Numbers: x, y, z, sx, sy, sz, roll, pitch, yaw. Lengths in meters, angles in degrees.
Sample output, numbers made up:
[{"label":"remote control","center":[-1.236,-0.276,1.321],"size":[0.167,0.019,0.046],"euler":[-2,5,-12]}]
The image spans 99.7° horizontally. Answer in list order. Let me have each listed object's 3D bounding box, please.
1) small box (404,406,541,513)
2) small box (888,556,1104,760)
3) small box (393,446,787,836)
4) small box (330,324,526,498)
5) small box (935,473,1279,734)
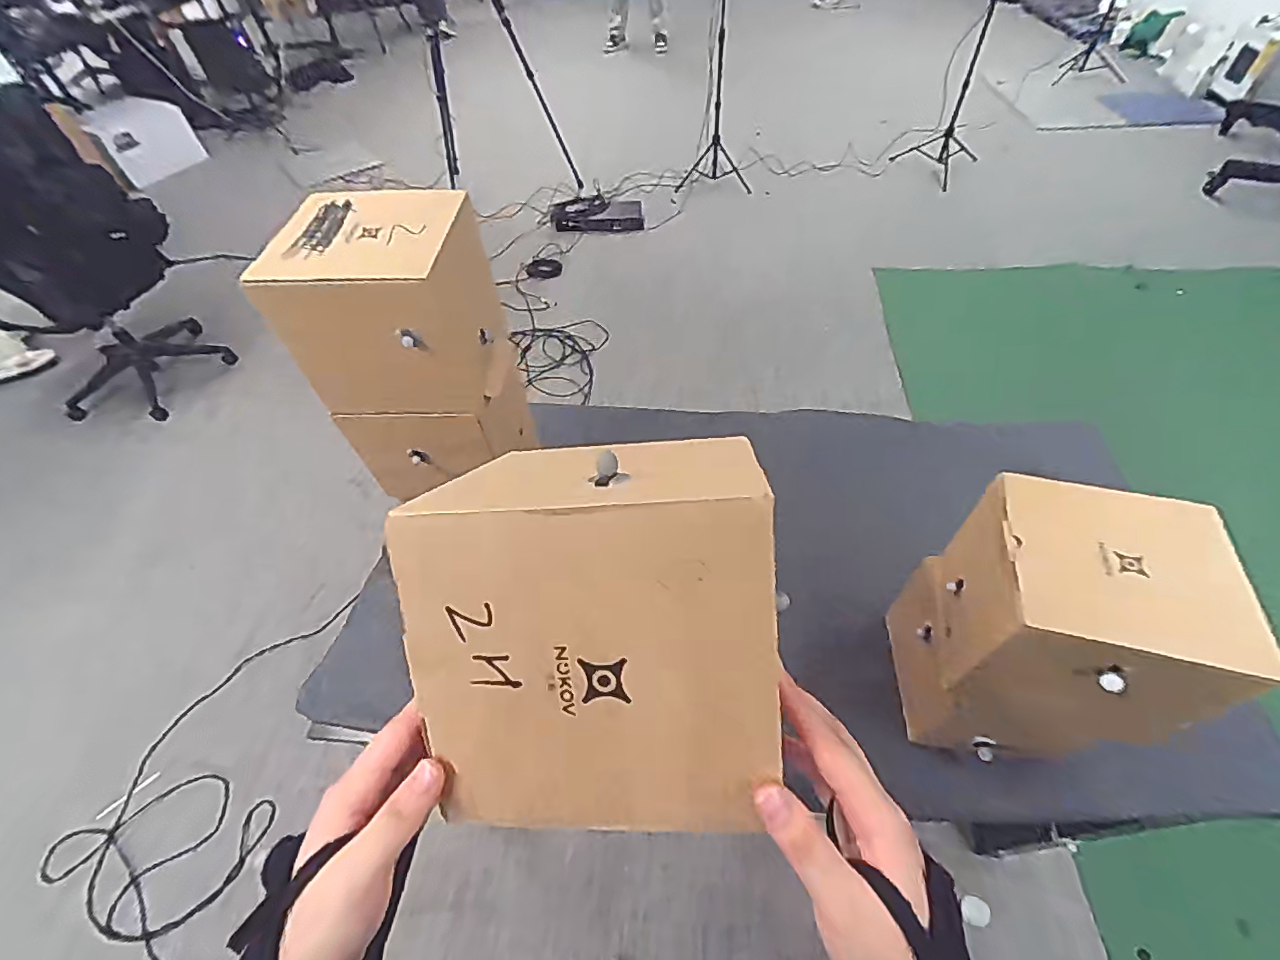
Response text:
[{"label":"small box","center":[-0.254,0.000,0.864],"size":[0.168,0.176,0.179],"euler":[-1,52,3]},{"label":"small box","center":[0.415,0.213,0.646],"size":[0.168,0.176,0.179],"euler":[2,51,7]},{"label":"small box","center":[-0.012,0.074,0.328],"size":[0.179,0.168,0.176],"euler":[-3,12,9]},{"label":"small box","center":[-0.263,-0.088,0.725],"size":[0.179,0.176,0.168],"euler":[-1,53,4]},{"label":"small box","center":[0.404,0.121,0.512],"size":[0.179,0.176,0.168],"euler":[10,52,14]}]
